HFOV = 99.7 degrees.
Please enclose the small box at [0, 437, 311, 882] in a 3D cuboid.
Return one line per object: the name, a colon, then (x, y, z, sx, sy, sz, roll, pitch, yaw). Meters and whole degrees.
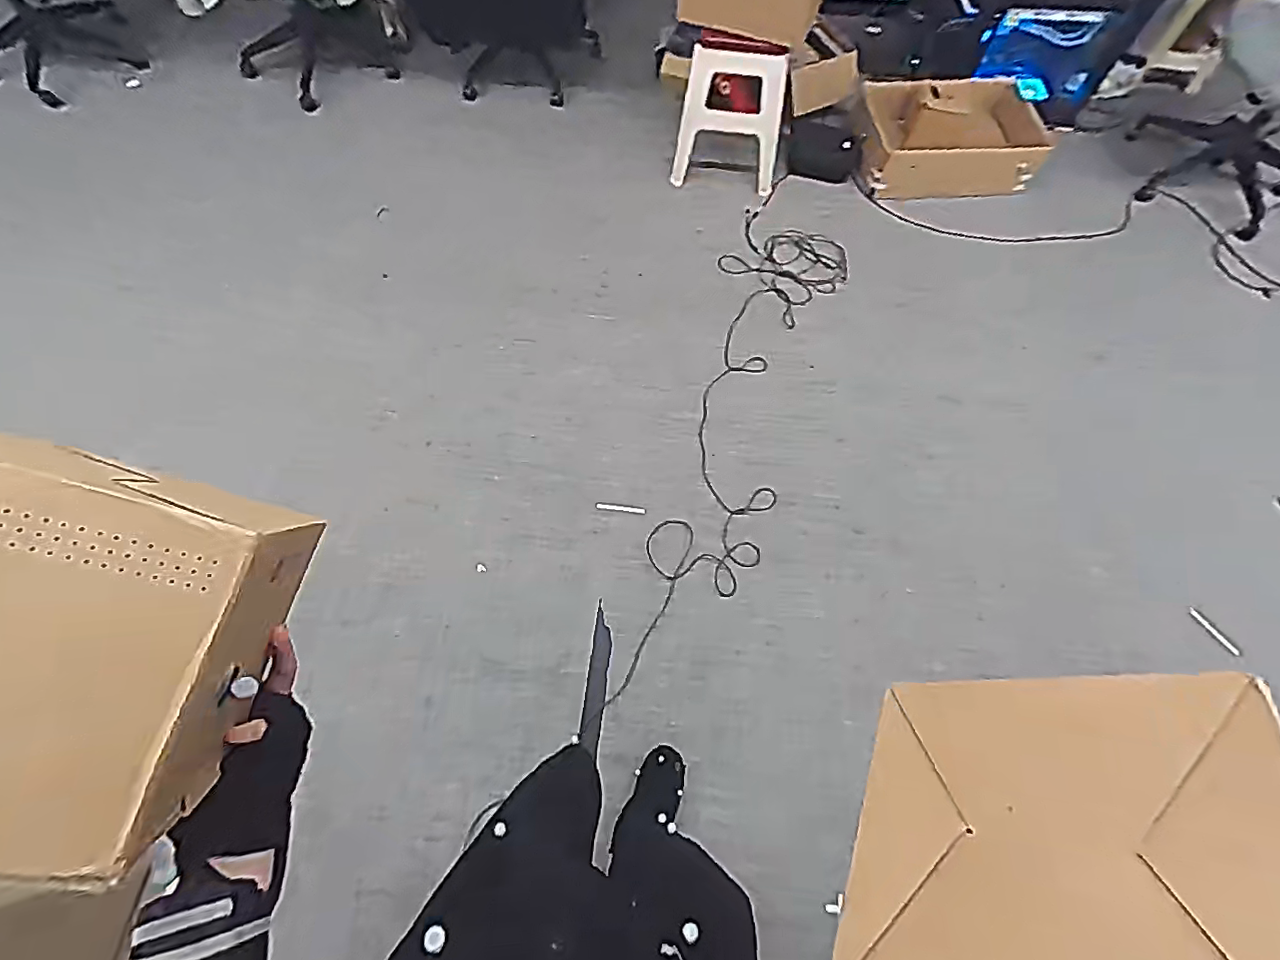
small box: (-0.310, 0.078, 0.299, 0.179, 0.168, 0.176, 20, 78, -19)
